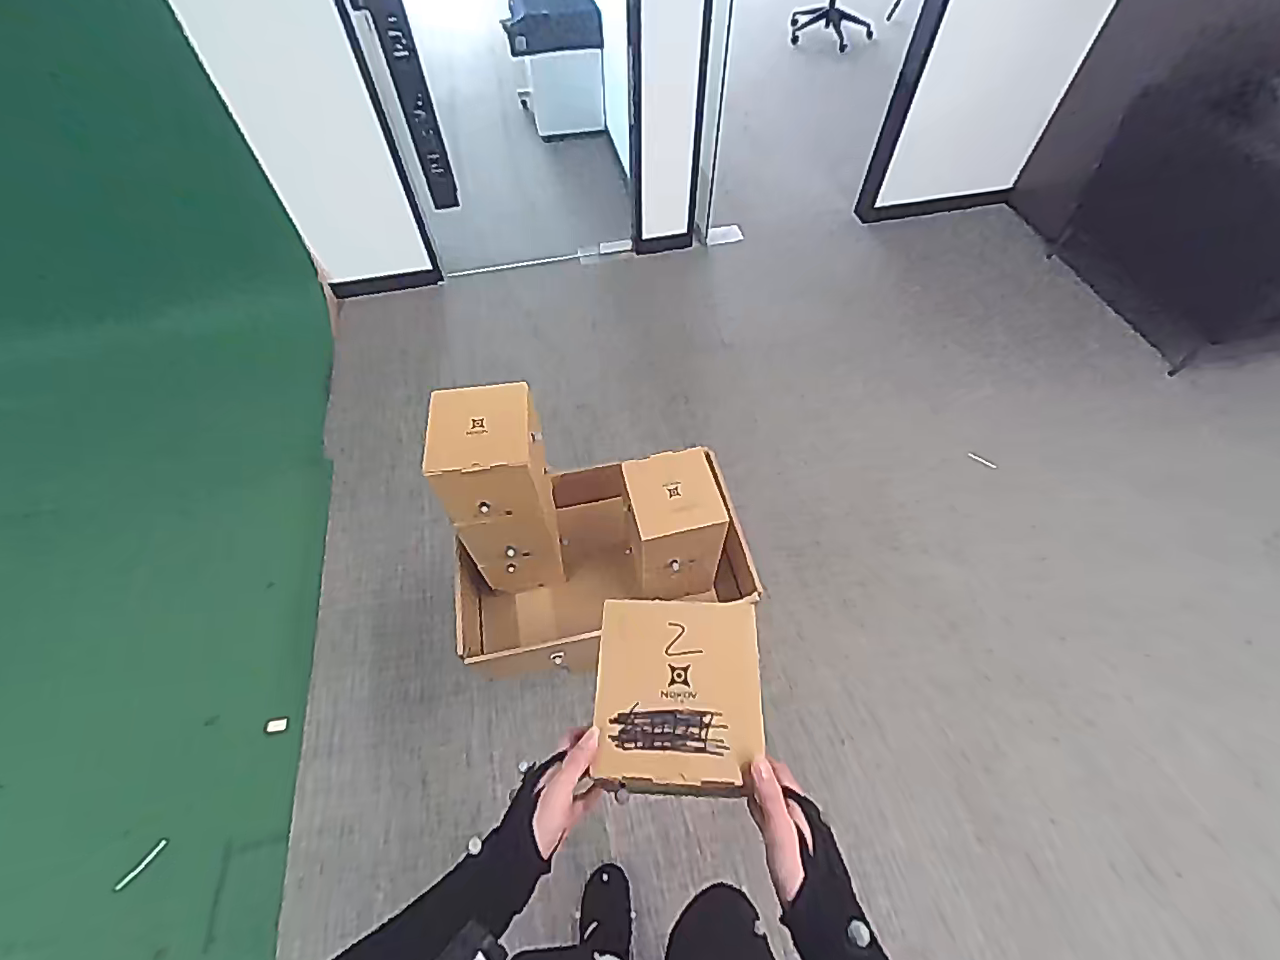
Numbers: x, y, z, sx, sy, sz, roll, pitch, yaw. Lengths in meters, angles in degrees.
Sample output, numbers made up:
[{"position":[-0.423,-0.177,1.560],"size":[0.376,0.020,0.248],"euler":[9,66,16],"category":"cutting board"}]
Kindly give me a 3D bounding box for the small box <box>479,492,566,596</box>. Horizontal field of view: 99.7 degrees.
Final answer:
[{"position":[-0.264,0.139,1.222],"size":[0.168,0.176,0.179],"euler":[-9,57,-6],"category":"small box"}]

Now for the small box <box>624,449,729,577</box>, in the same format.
[{"position":[0.063,0.067,1.071],"size":[0.168,0.176,0.179],"euler":[-11,57,-7],"category":"small box"}]

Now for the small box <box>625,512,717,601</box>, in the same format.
[{"position":[0.064,0.157,1.207],"size":[0.168,0.176,0.179],"euler":[-10,56,-7],"category":"small box"}]

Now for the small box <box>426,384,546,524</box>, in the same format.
[{"position":[-0.260,-0.043,0.952],"size":[0.168,0.176,0.179],"euler":[-6,57,-4],"category":"small box"}]

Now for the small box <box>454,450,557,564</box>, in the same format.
[{"position":[-0.263,0.048,1.086],"size":[0.168,0.176,0.179],"euler":[-7,57,-4],"category":"small box"}]
